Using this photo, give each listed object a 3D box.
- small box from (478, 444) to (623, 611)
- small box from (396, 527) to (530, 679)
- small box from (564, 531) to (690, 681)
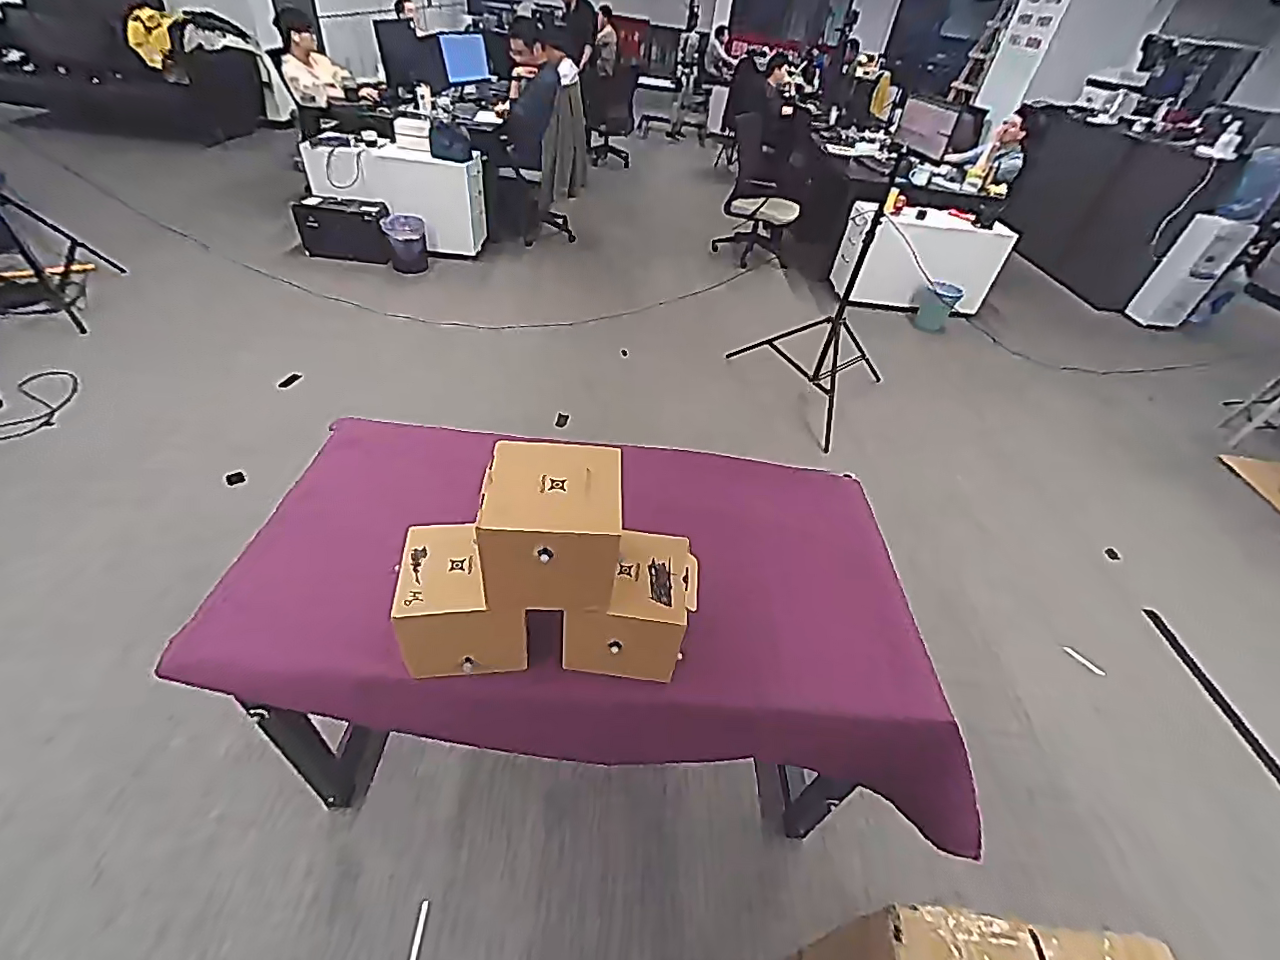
[{"bbox_3d":[-0.118,0.068,0.758,0.179,0.176,0.168,4,42,-7],"label":"small box"},{"bbox_3d":[-0.263,0.191,0.844,0.179,0.176,0.168,0,41,-12],"label":"small box"},{"bbox_3d":[-0.021,0.202,0.869,0.179,0.176,0.168,8,41,1],"label":"small box"}]
